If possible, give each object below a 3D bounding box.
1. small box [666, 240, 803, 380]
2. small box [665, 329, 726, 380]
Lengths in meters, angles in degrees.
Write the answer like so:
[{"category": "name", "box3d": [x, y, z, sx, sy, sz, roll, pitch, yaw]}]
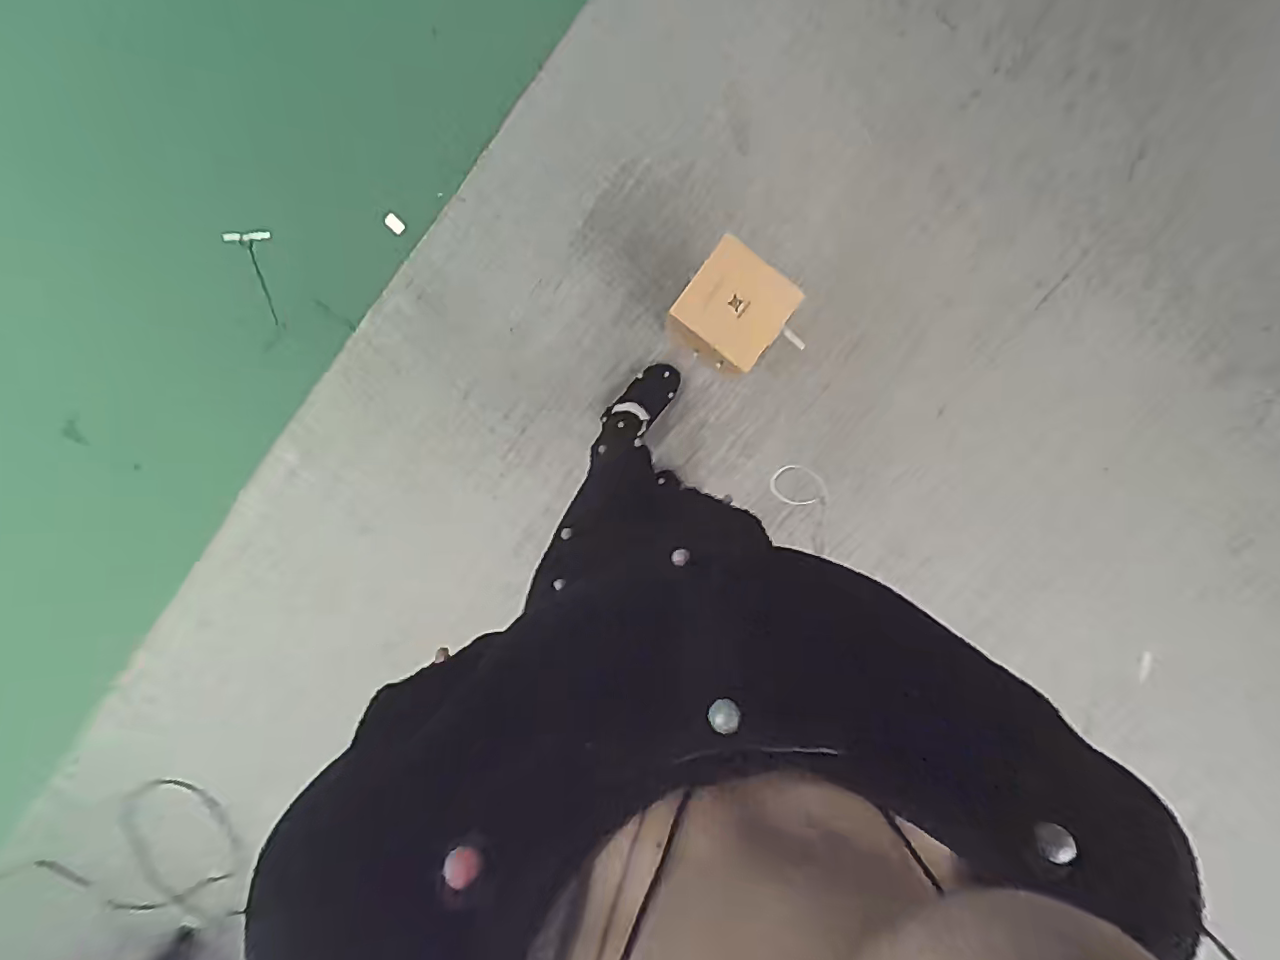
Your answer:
[{"category": "small box", "box3d": [0.164, -0.303, 1.001, 0.179, 0.176, 0.168, 38, 97, -4]}, {"category": "small box", "box3d": [0.177, -0.362, 1.323, 0.179, 0.176, 0.168, 39, 97, -4]}]
